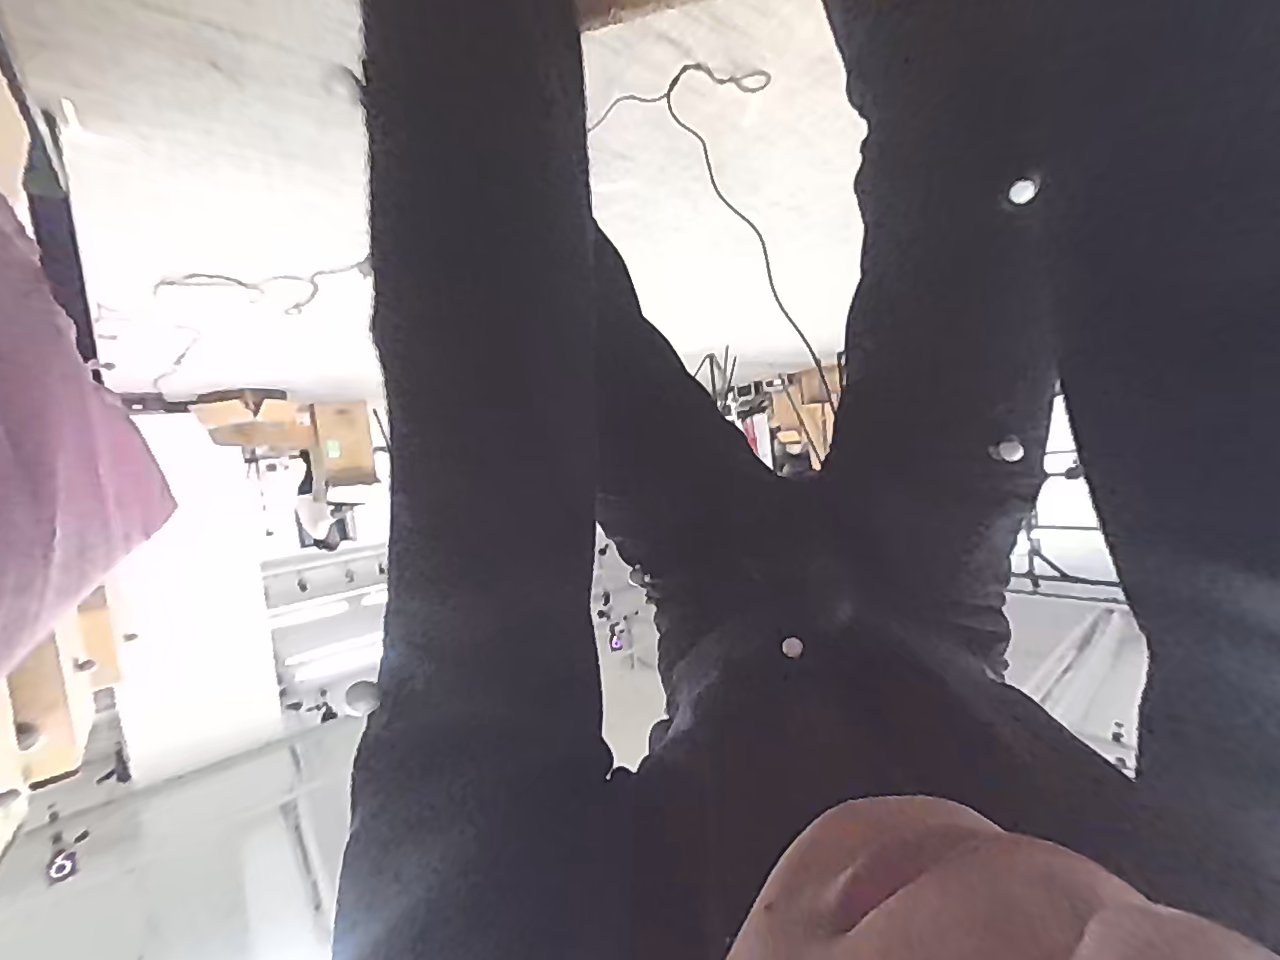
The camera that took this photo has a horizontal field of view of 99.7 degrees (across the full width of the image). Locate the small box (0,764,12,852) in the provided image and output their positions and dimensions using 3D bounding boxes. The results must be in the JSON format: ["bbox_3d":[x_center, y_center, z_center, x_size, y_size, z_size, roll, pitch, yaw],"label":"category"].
[{"bbox_3d":[-0.499,0.190,0.299,0.168,0.176,0.179,-9,-176,-39],"label":"small box"}]

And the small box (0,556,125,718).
[{"bbox_3d":[-0.807,0.200,0.711,0.168,0.176,0.179,-10,-175,-40],"label":"small box"}]
